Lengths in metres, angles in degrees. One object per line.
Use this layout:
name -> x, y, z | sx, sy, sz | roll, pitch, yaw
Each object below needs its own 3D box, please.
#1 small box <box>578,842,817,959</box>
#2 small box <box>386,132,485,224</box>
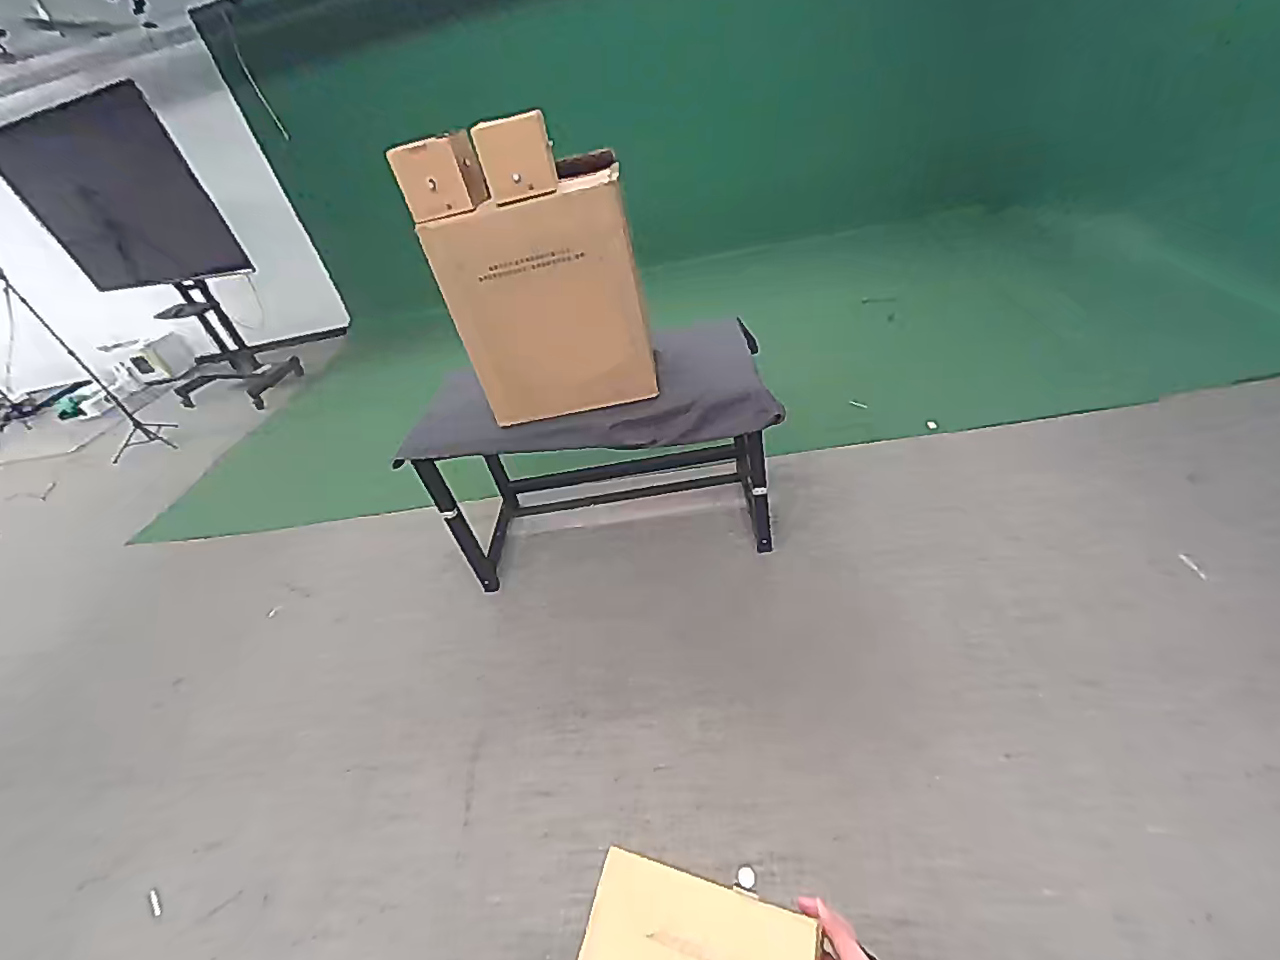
small box -> 0.048, 0.423, 0.432 | 0.168, 0.176, 0.179 | 5, 54, 22
small box -> -0.529, -0.795, 1.430 | 0.168, 0.176, 0.179 | -10, 37, 7
